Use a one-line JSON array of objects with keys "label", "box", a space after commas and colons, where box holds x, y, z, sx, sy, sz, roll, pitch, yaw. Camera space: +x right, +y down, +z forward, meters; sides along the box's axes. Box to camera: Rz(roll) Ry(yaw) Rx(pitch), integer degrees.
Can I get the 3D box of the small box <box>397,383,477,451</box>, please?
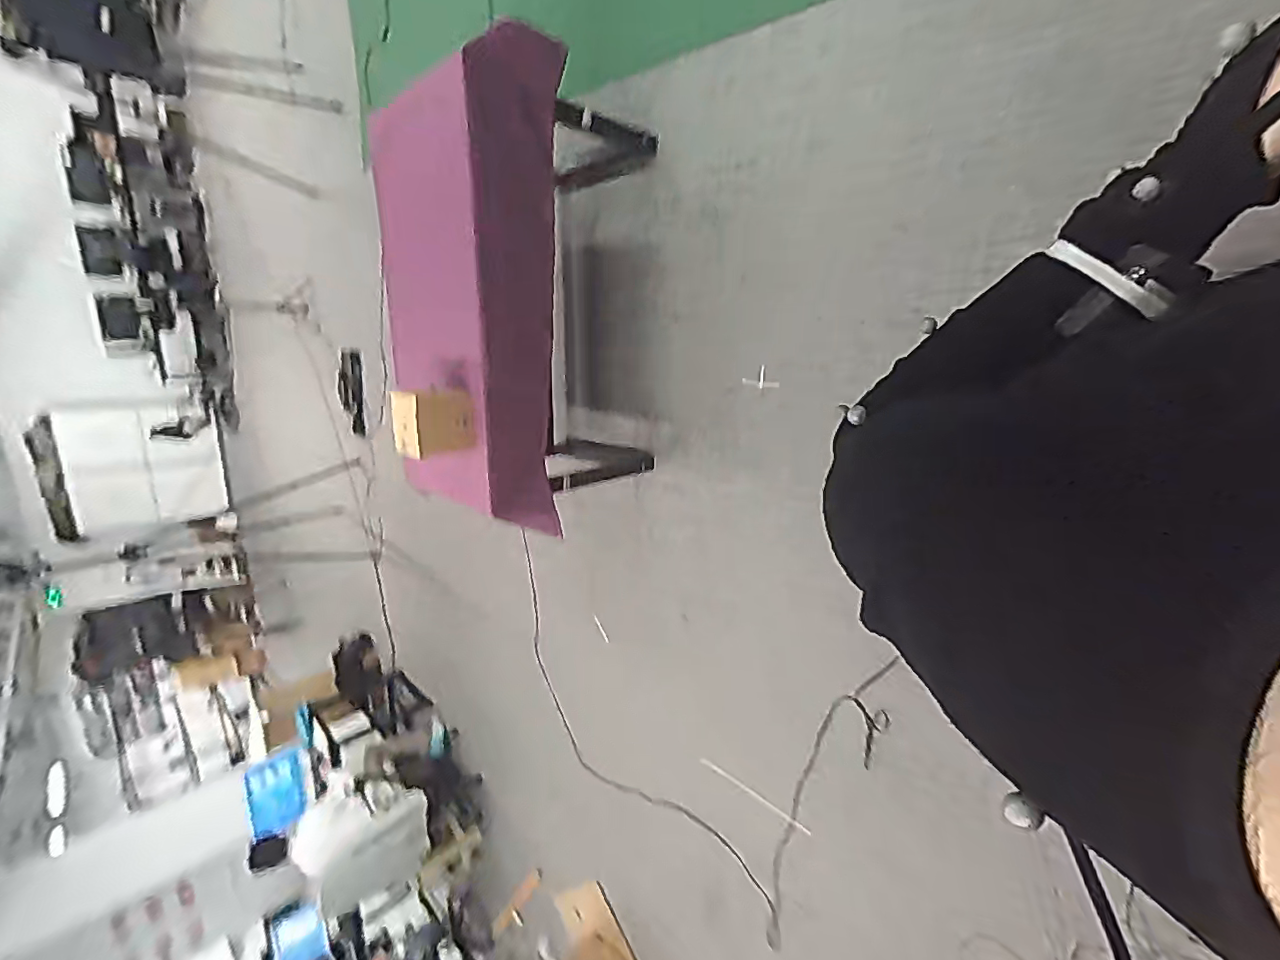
[{"label": "small box", "box": [-0.597, -0.192, 1.598, 0.168, 0.176, 0.179, 17, 110, 43]}]
